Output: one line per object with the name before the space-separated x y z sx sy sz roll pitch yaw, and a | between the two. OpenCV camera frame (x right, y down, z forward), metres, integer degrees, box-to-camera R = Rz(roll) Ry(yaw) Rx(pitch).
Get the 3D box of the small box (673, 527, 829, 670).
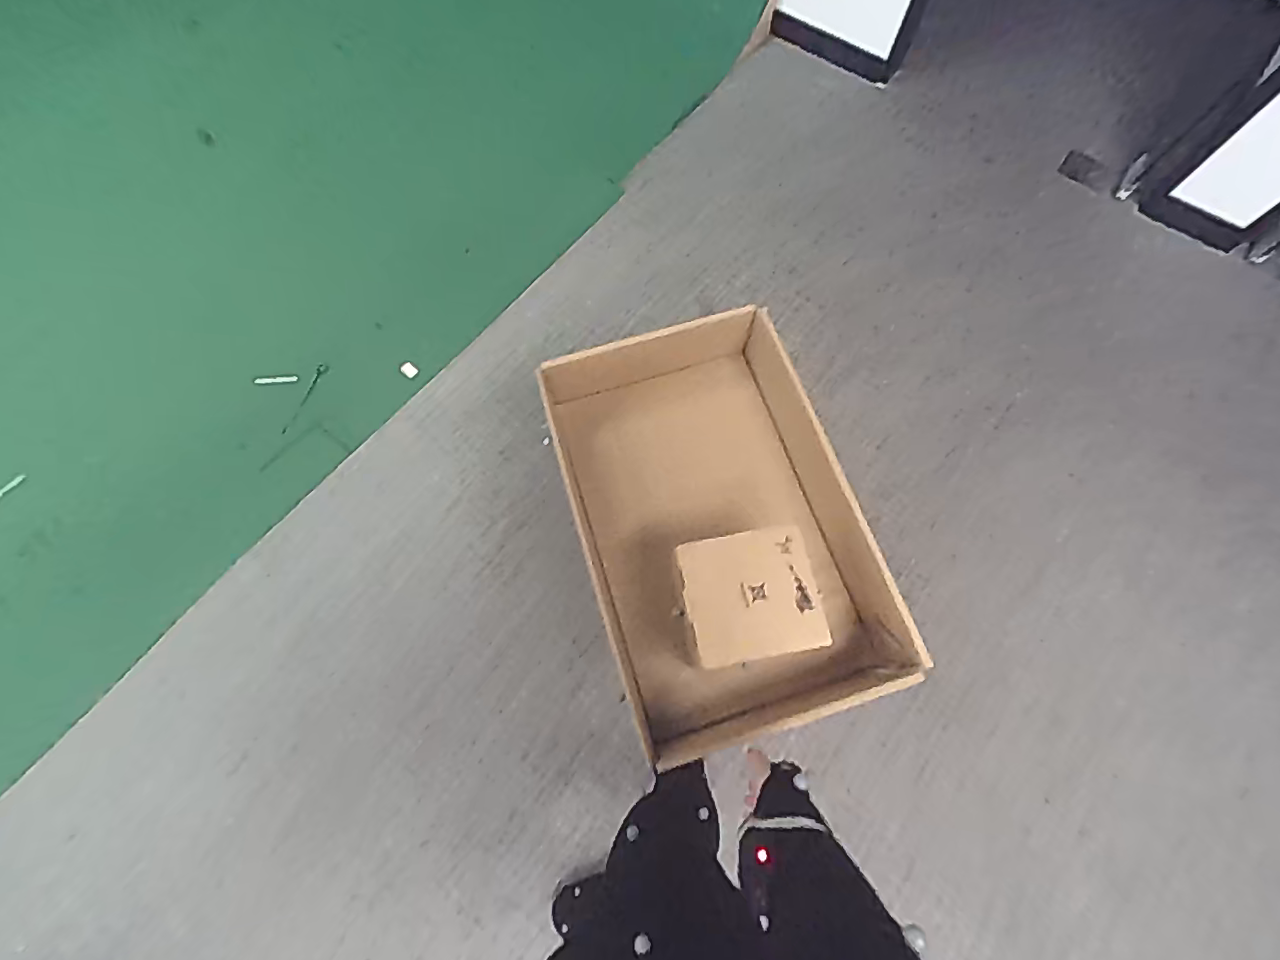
small box | 0.147 0.180 0.790 0.179 0.176 0.168 -10 72 -2
